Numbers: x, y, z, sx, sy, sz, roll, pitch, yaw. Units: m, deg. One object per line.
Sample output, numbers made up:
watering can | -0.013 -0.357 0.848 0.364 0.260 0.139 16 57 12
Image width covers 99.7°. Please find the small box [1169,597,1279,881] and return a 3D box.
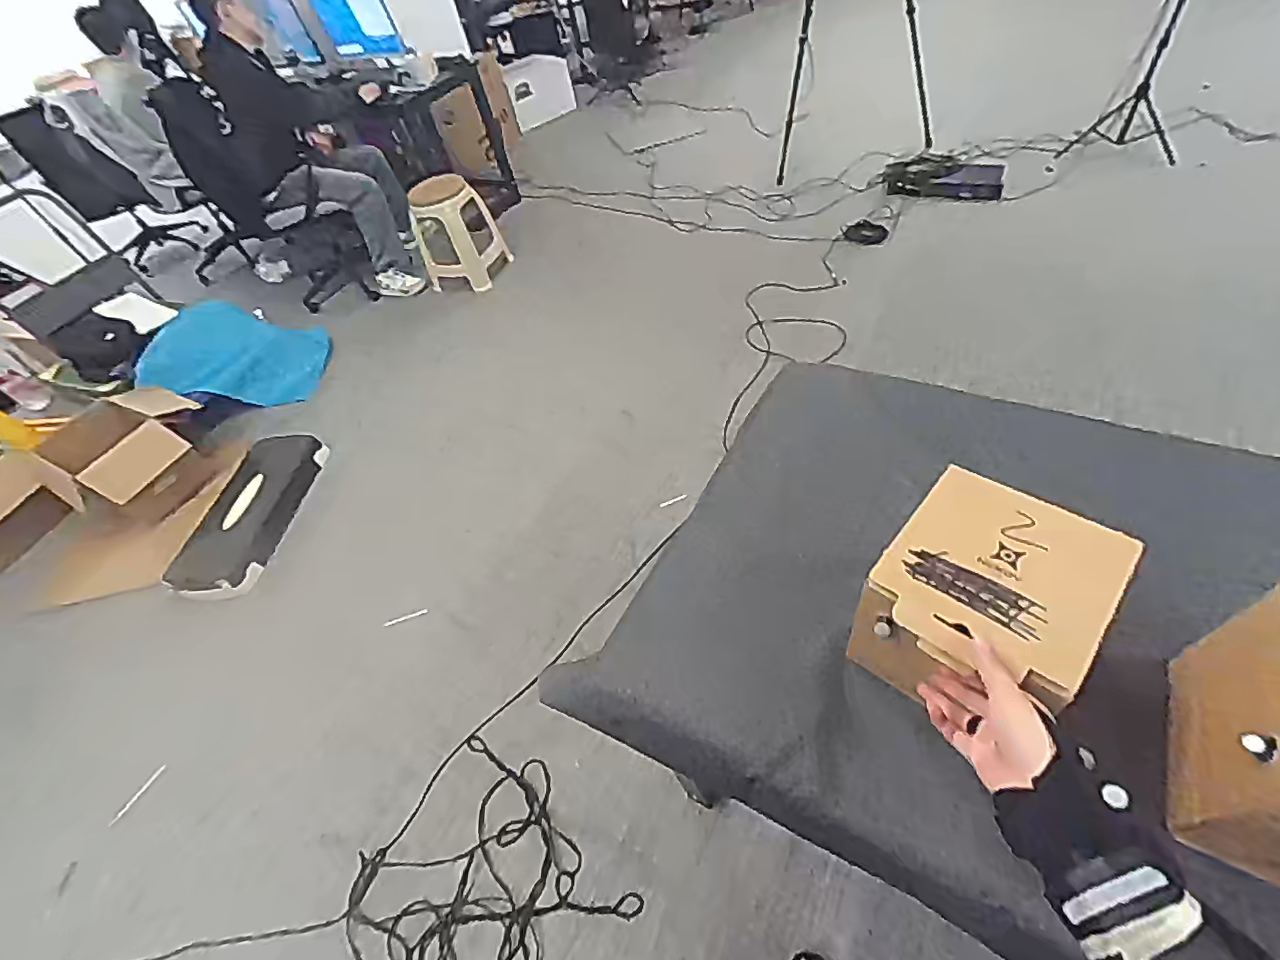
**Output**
small box | 0.550 0.211 0.410 0.168 0.176 0.179 18 58 25
